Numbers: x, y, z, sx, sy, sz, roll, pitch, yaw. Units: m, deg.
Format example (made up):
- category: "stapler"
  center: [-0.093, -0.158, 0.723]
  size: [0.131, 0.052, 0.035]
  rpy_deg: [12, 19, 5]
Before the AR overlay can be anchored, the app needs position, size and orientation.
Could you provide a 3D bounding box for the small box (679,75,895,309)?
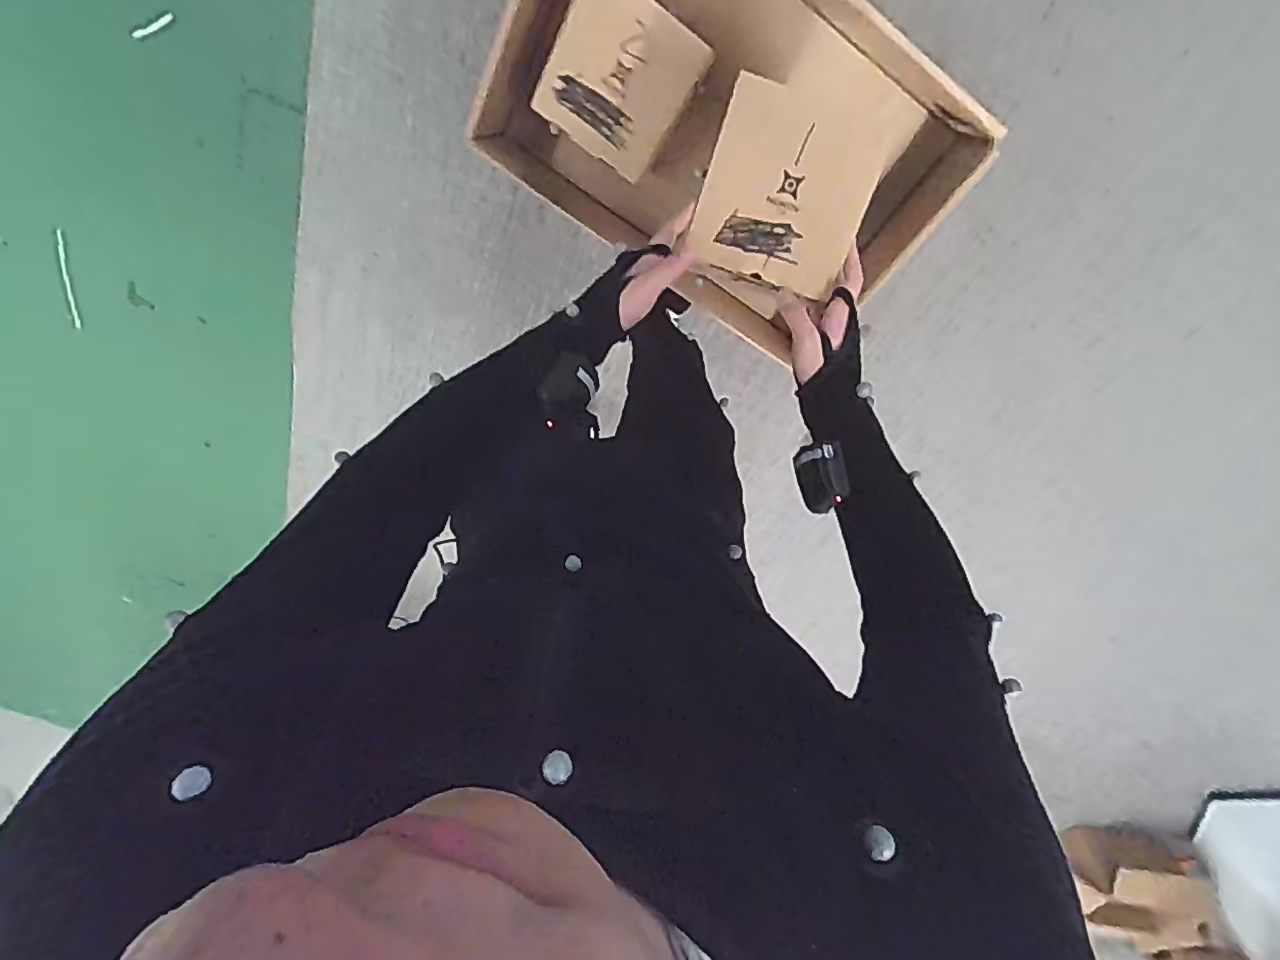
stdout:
- category: "small box"
  center: [0.149, -0.306, 0.619]
  size: [0.168, 0.176, 0.179]
  rpy_deg: [18, 107, -3]
